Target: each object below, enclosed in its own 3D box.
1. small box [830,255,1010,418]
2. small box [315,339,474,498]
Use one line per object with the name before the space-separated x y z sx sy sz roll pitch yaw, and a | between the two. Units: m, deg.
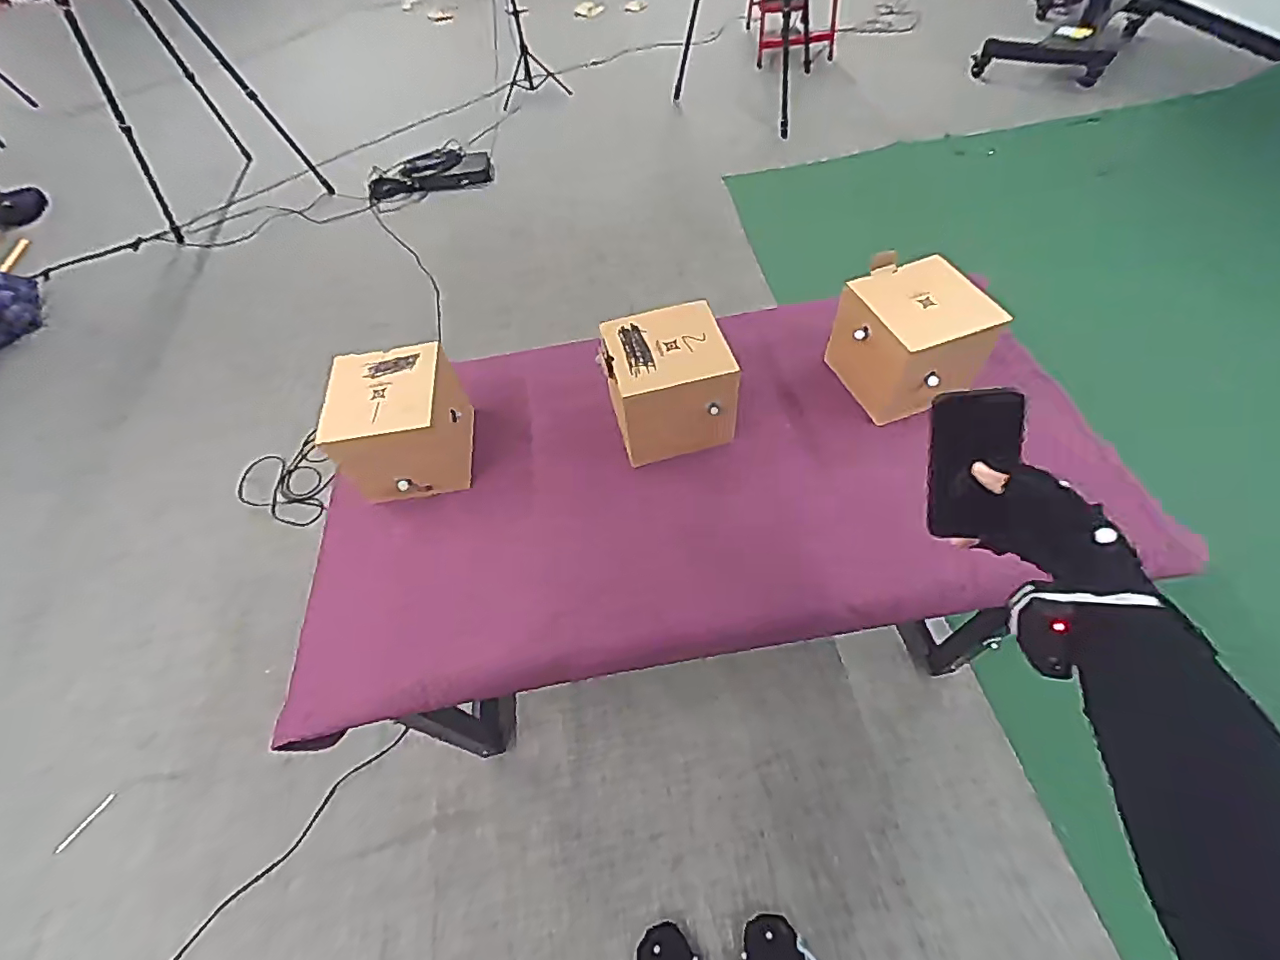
small box | 0.431 -0.220 0.868 0.168 0.176 0.179 -18 56 -6
small box | -0.373 -0.094 0.859 0.168 0.176 0.179 -9 58 0
